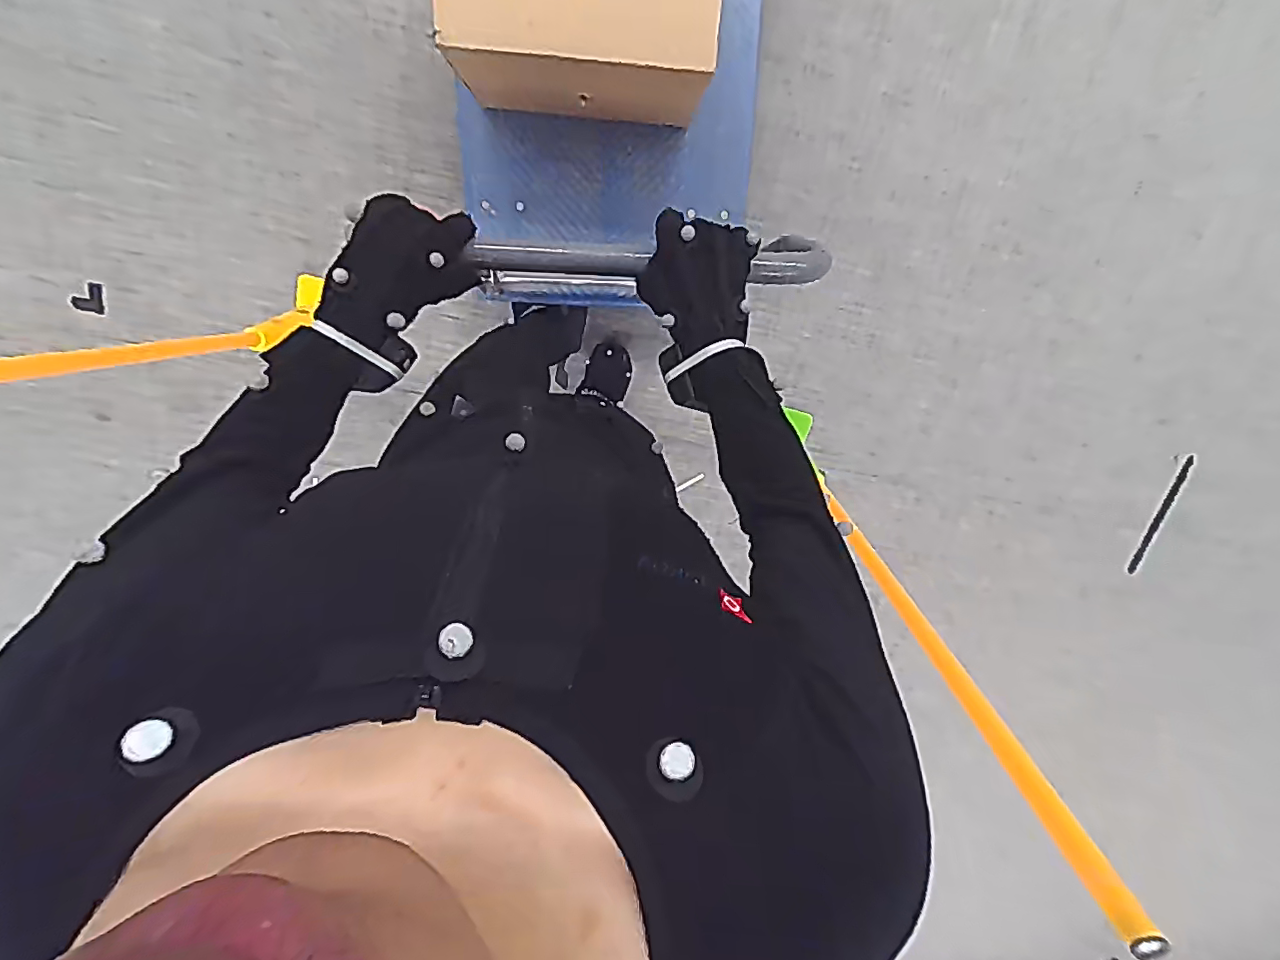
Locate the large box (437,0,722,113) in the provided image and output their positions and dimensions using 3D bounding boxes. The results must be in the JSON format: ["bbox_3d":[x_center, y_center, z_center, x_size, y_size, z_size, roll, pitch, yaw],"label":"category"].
[{"bbox_3d":[-0.083,-0.812,0.862,0.408,0.320,0.320,3,111,-4],"label":"large box"}]

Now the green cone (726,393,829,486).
[{"bbox_3d":[0.367,-0.064,1.321,0.202,0.368,0.200,14,109,-10],"label":"green cone"}]
